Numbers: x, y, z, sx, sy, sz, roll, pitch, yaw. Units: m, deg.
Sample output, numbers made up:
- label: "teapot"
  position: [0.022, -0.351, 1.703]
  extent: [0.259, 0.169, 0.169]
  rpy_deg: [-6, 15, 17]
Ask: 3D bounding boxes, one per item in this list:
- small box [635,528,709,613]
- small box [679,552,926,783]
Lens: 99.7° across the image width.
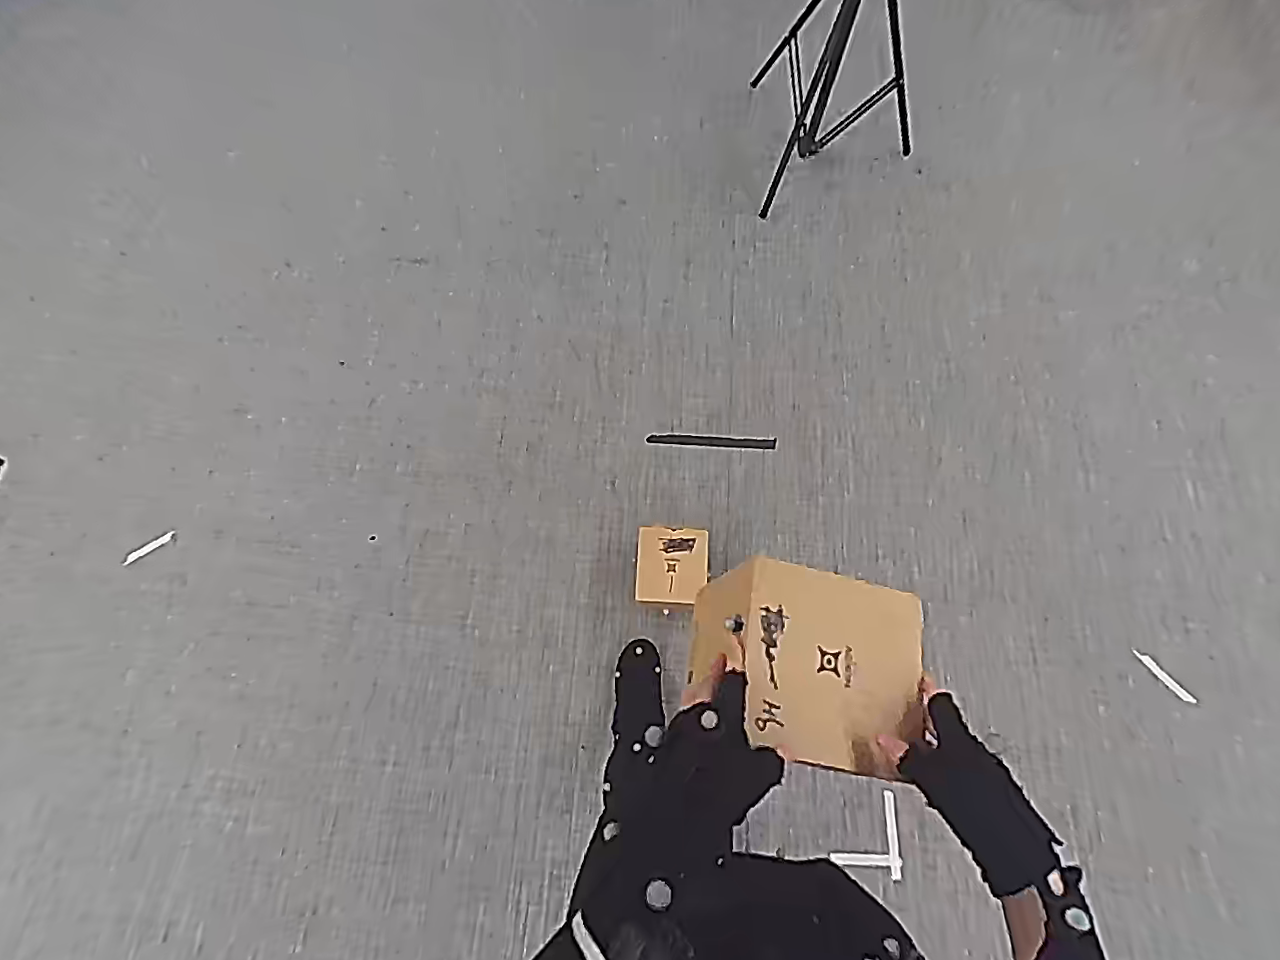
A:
- label: "small box"
  position: [0.075, 0.225, 1.326]
  extent: [0.168, 0.176, 0.179]
  rpy_deg: [3, 72, 2]
- label: "small box"
  position: [0.156, 0.189, 0.548]
  extent: [0.179, 0.176, 0.168]
  rpy_deg: [16, 65, -8]
